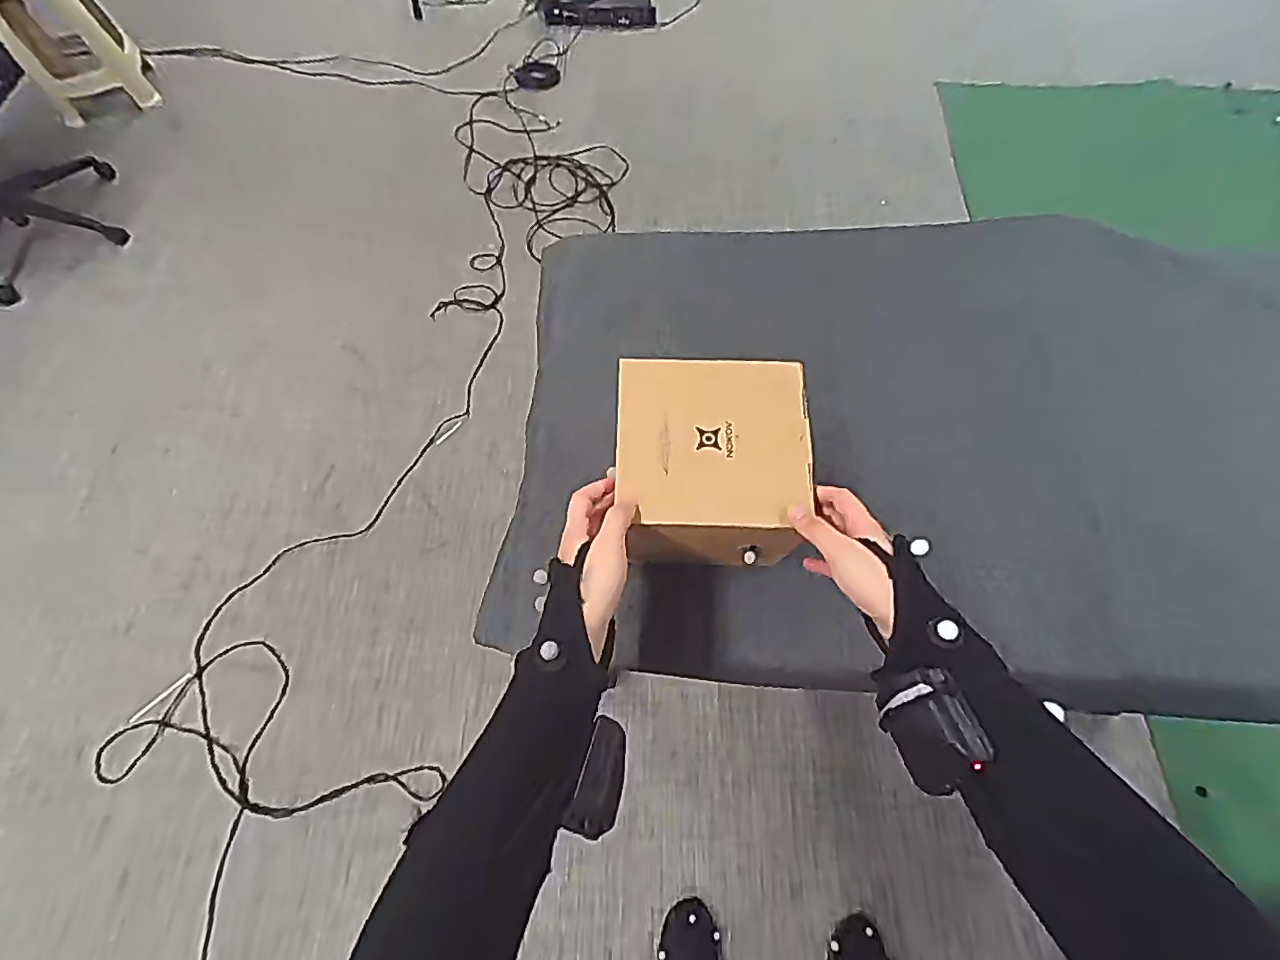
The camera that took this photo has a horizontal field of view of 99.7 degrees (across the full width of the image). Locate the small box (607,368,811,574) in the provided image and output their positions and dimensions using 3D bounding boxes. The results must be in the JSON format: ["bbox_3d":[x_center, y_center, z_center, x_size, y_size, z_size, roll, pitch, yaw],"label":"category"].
[{"bbox_3d":[0.062,-0.001,0.560,0.179,0.176,0.168,-1,69,2],"label":"small box"}]
